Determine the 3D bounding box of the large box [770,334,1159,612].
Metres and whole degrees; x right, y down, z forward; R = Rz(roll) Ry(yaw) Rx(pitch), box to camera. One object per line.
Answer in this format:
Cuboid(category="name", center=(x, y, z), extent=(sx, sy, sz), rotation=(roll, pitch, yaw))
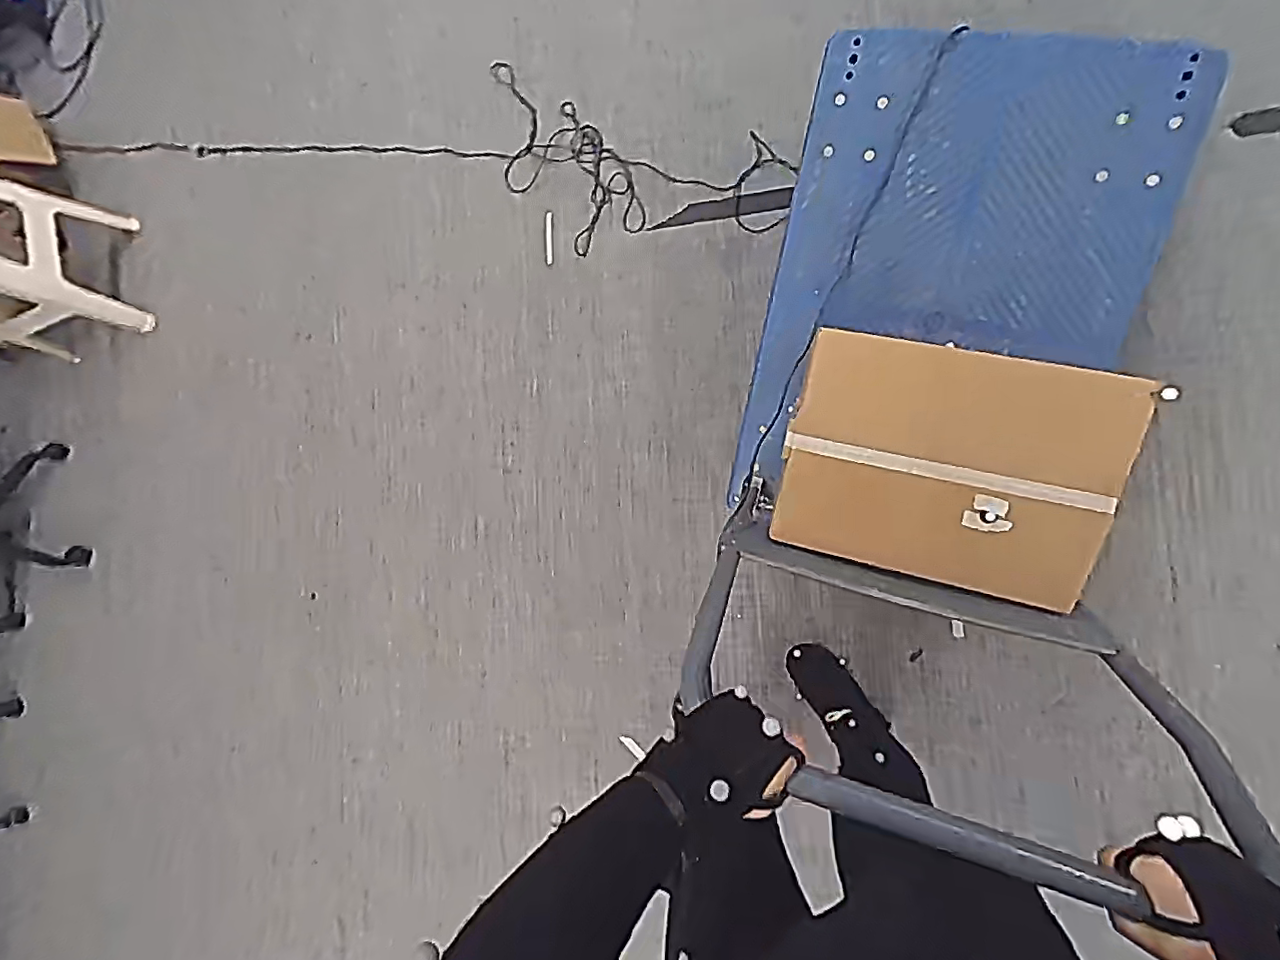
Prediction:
Cuboid(category="large box", center=(0.439, -0.040, 0.857), extent=(0.408, 0.320, 0.320), rotation=(13, 106, 12))
